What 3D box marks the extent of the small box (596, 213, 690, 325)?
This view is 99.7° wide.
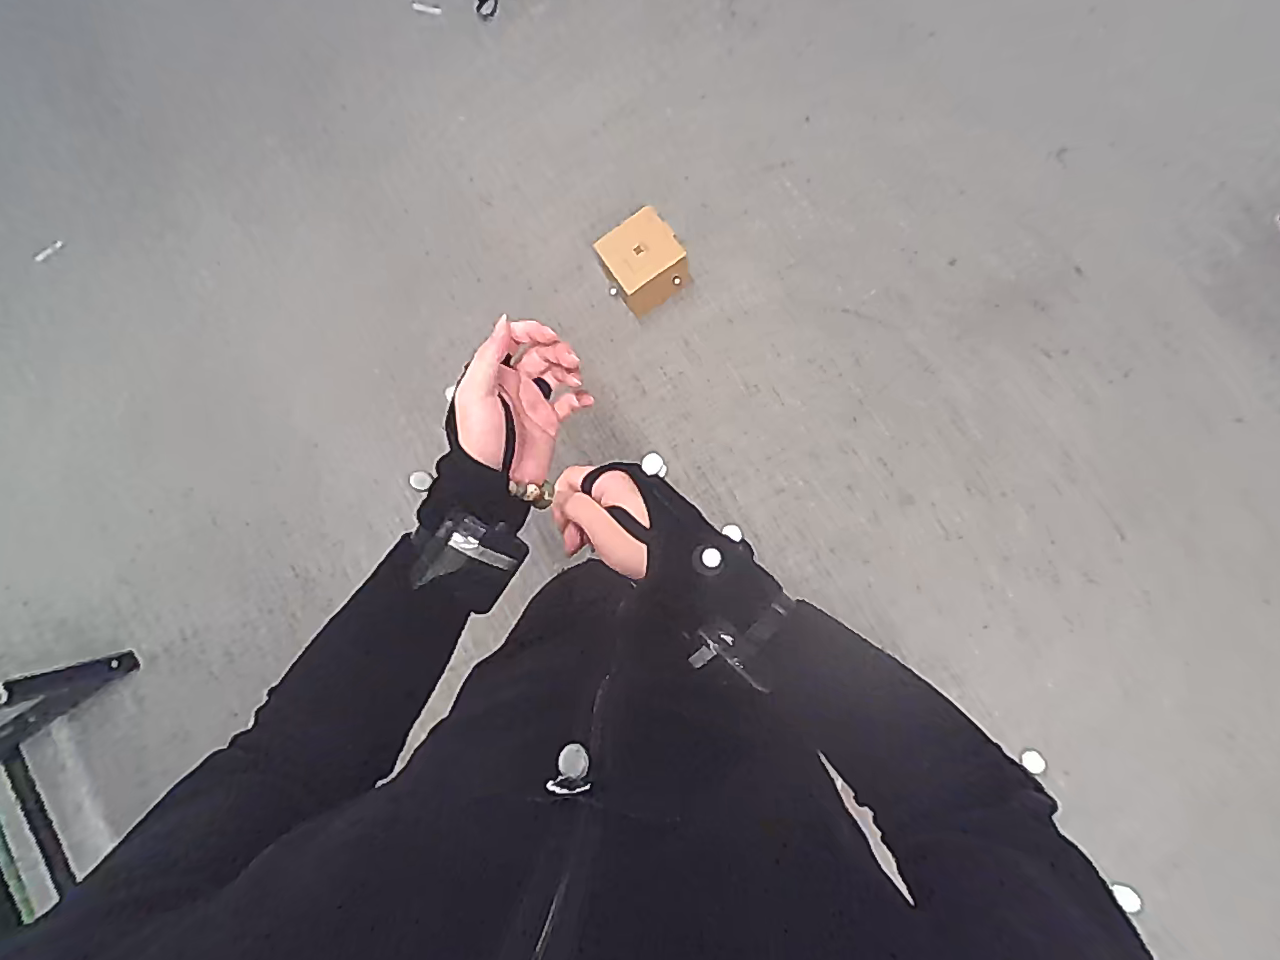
[{"bbox_3d":[0.014,-0.537,1.397,0.179,0.176,0.168,-35,81,4],"label":"small box"}]
